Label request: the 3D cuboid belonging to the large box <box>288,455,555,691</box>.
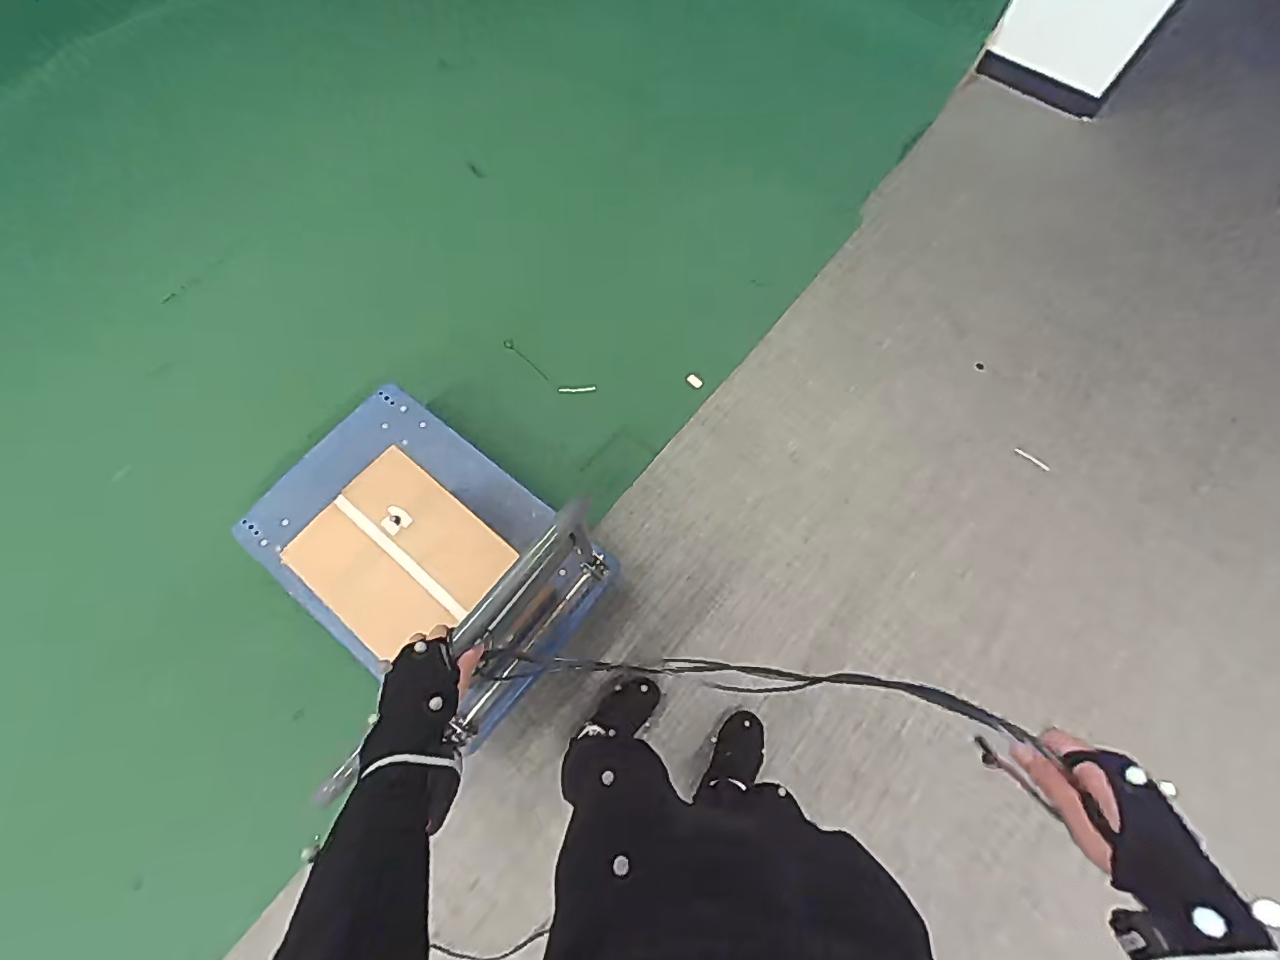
[{"bbox_3d":[-0.460,0.221,1.222,0.408,0.320,0.320,38,74,15],"label":"large box"}]
